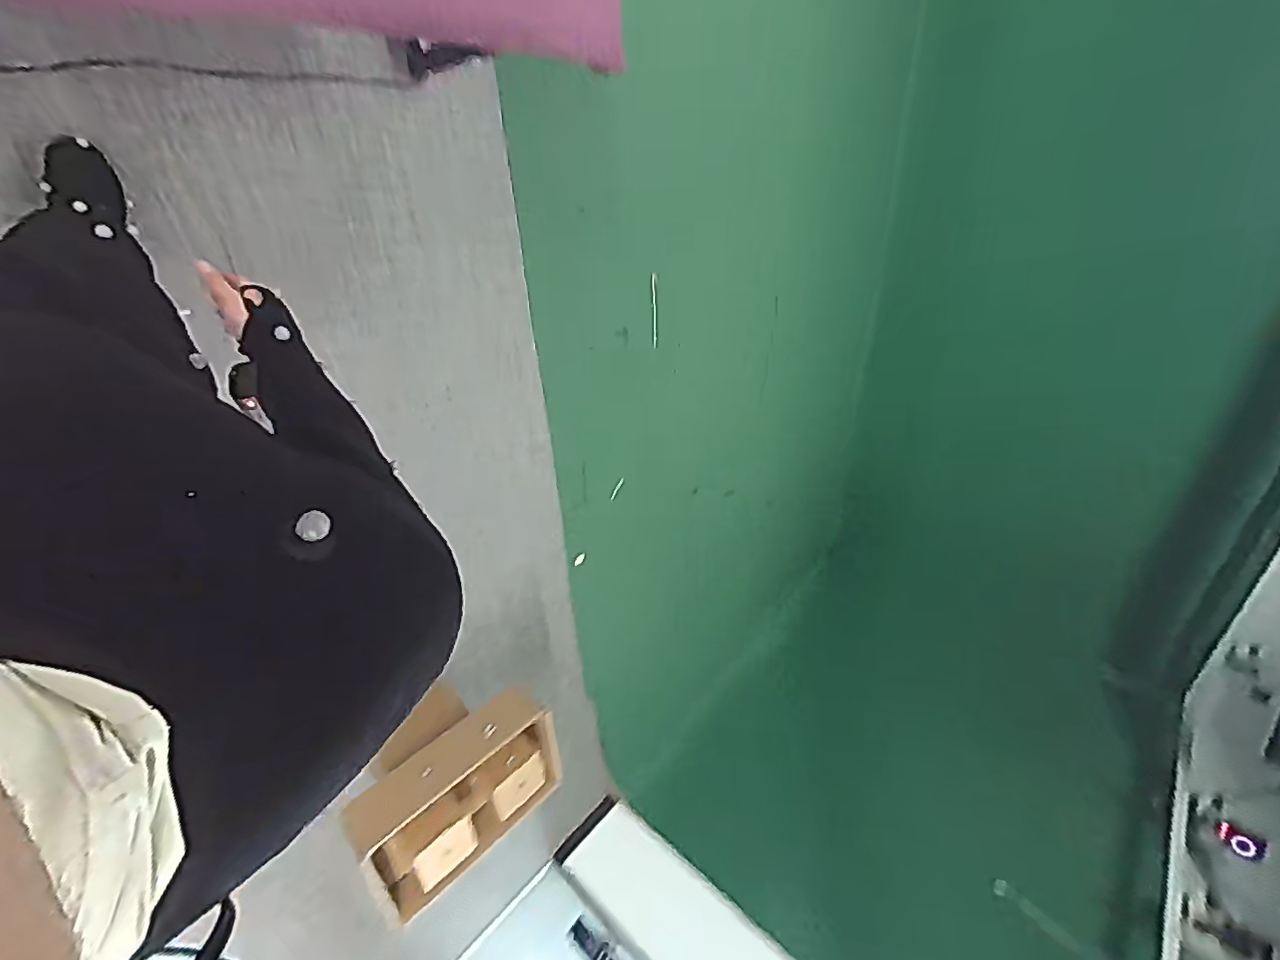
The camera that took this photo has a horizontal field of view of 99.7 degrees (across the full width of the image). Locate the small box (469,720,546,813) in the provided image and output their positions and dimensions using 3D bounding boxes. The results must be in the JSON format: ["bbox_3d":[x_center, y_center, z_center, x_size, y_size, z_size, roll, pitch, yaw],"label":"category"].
[{"bbox_3d":[-0.441,0.947,1.805,0.179,0.176,0.168,-28,128,-37],"label":"small box"}]

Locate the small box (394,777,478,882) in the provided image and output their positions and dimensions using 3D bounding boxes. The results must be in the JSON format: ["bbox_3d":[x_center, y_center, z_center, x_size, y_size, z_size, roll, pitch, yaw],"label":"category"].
[{"bbox_3d":[-0.621,1.053,1.645,0.168,0.176,0.179,-27,126,-39],"label":"small box"}]
